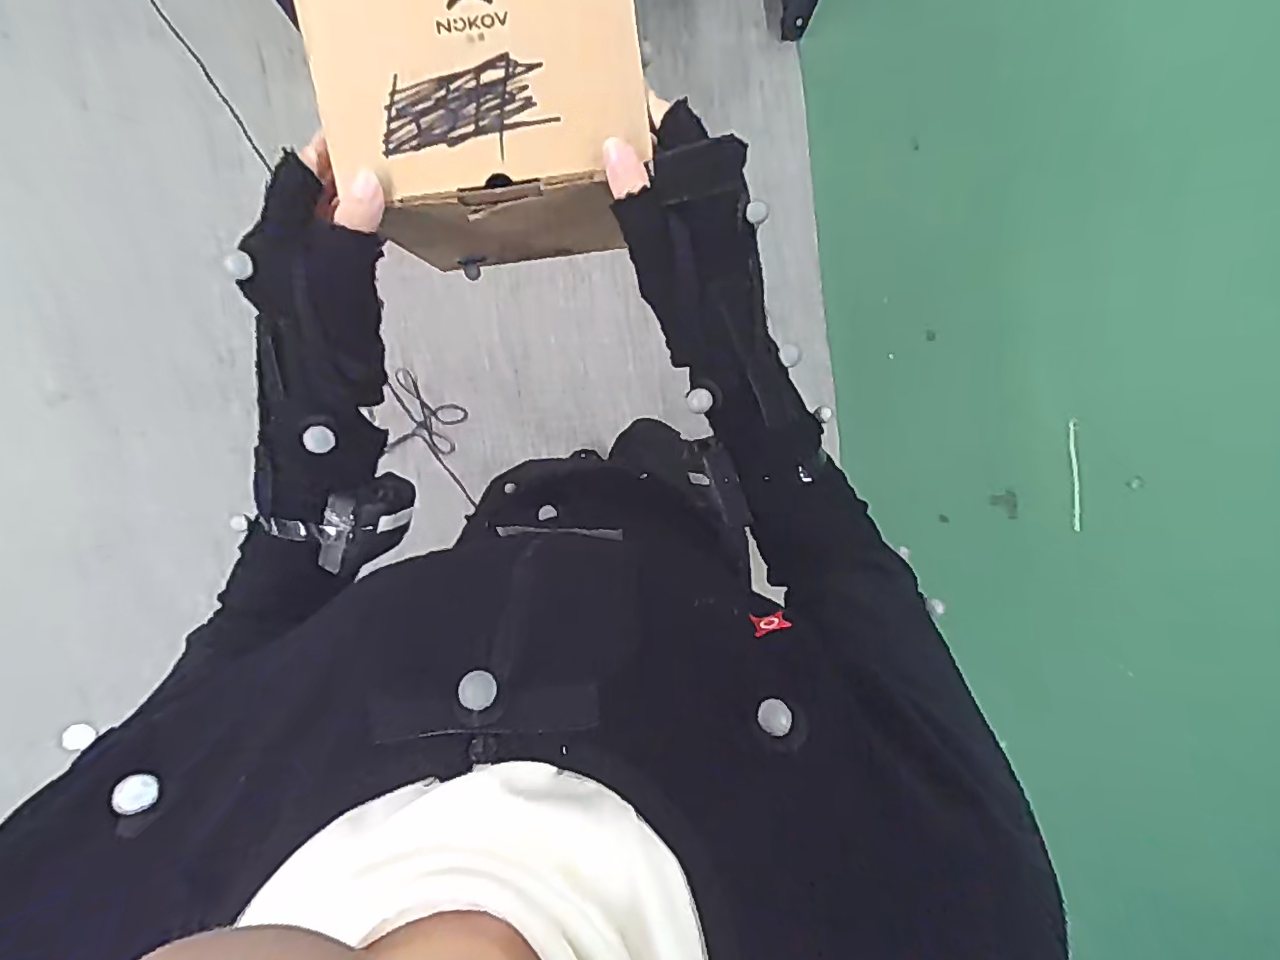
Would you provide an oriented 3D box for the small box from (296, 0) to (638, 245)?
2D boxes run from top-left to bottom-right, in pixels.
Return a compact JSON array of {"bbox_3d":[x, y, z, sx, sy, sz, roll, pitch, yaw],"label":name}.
[{"bbox_3d":[-0.091,-0.262,0.345,0.168,0.176,0.179,-8,99,-1],"label":"small box"}]
